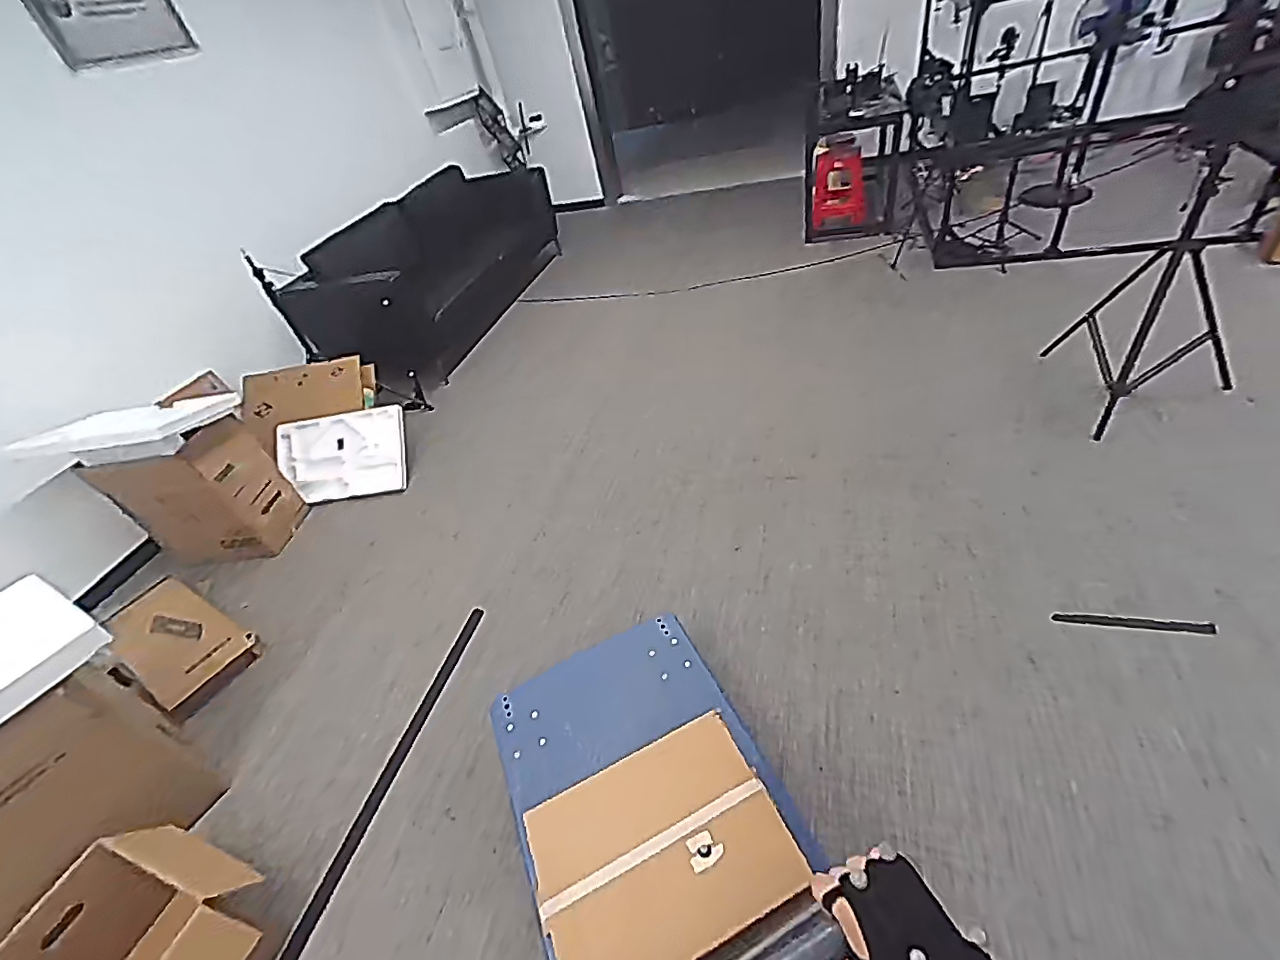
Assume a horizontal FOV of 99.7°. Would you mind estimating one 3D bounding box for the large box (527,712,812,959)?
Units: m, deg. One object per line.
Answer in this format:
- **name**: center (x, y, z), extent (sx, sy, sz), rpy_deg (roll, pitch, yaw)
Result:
- **large box**: center (0.057, 0.725, 0.997), extent (0.408, 0.320, 0.320), rpy_deg (-23, 41, -12)
